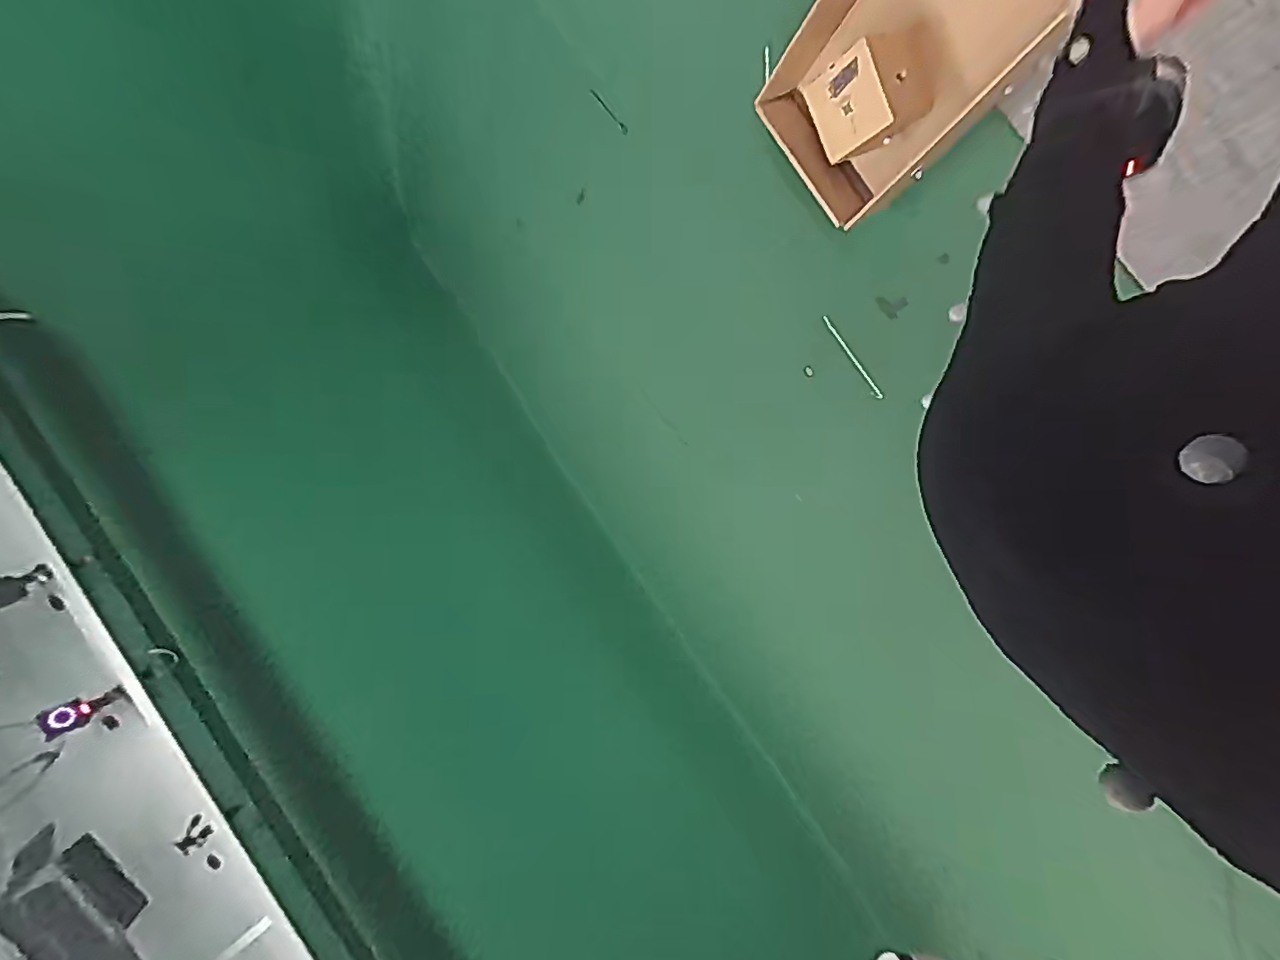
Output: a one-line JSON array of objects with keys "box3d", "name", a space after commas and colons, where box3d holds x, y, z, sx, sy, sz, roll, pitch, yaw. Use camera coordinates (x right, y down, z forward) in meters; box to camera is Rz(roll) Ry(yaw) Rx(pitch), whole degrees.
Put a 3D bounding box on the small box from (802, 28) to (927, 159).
[{"box3d": [0.501, -0.859, 1.204, 0.168, 0.176, 0.179, -8, 112, 59], "name": "small box"}]
